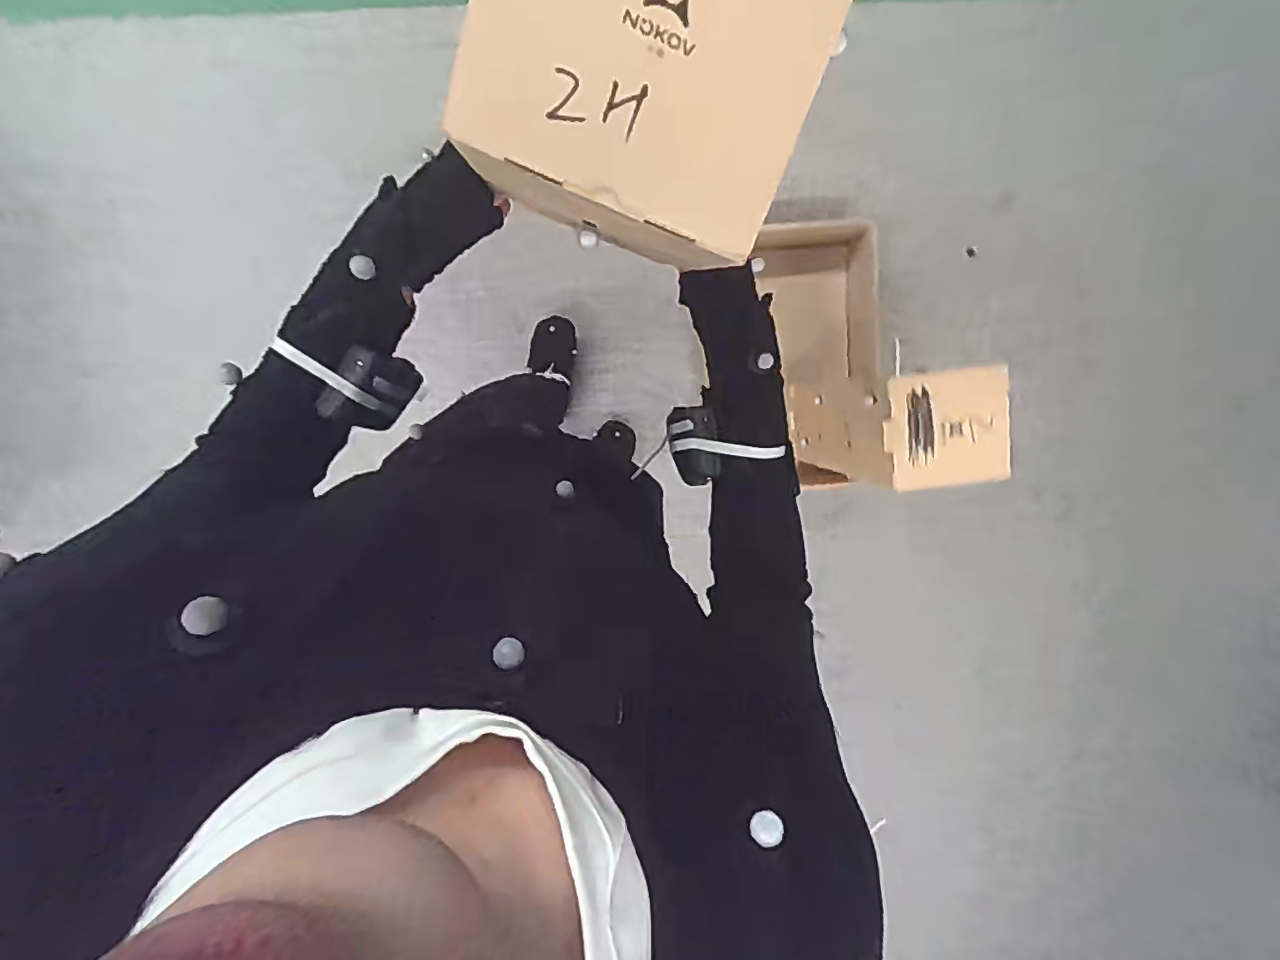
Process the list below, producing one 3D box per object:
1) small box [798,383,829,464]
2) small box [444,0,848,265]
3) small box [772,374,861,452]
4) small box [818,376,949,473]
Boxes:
[{"bbox_3d":[0.447,-0.125,1.164,0.179,0.176,0.168,-4,98,-2],"label":"small box"},{"bbox_3d":[0.000,-0.246,0.324,0.168,0.176,0.179,17,107,-13],"label":"small box"},{"bbox_3d":[0.436,-0.163,1.342,0.179,0.176,0.168,-9,97,-2],"label":"small box"},{"bbox_3d":[0.447,-0.106,1.018,0.179,0.176,0.168,-3,99,-2],"label":"small box"}]
